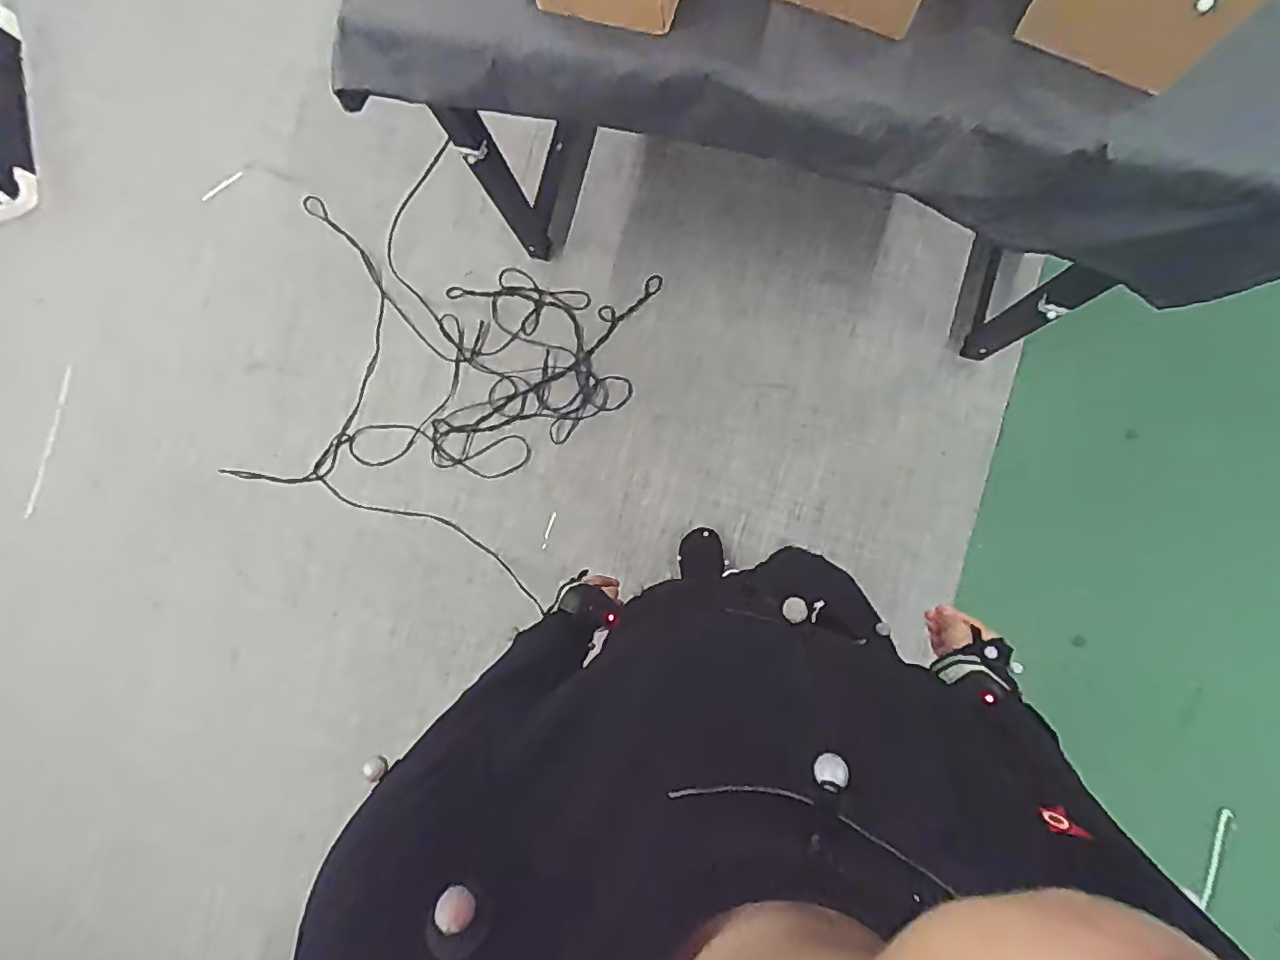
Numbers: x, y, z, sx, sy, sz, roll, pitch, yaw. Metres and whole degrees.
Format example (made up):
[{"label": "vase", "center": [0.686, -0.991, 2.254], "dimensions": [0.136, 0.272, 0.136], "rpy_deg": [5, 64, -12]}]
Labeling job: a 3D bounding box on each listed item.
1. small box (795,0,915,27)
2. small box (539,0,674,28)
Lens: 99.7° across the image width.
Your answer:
[{"label": "small box", "center": [0.256, -0.639, 0.572], "dimensions": [0.179, 0.176, 0.168], "rpy_deg": [26, 88, 9]}, {"label": "small box", "center": [-0.038, -0.664, 0.608], "dimensions": [0.179, 0.176, 0.168], "rpy_deg": [17, 87, 7]}]
